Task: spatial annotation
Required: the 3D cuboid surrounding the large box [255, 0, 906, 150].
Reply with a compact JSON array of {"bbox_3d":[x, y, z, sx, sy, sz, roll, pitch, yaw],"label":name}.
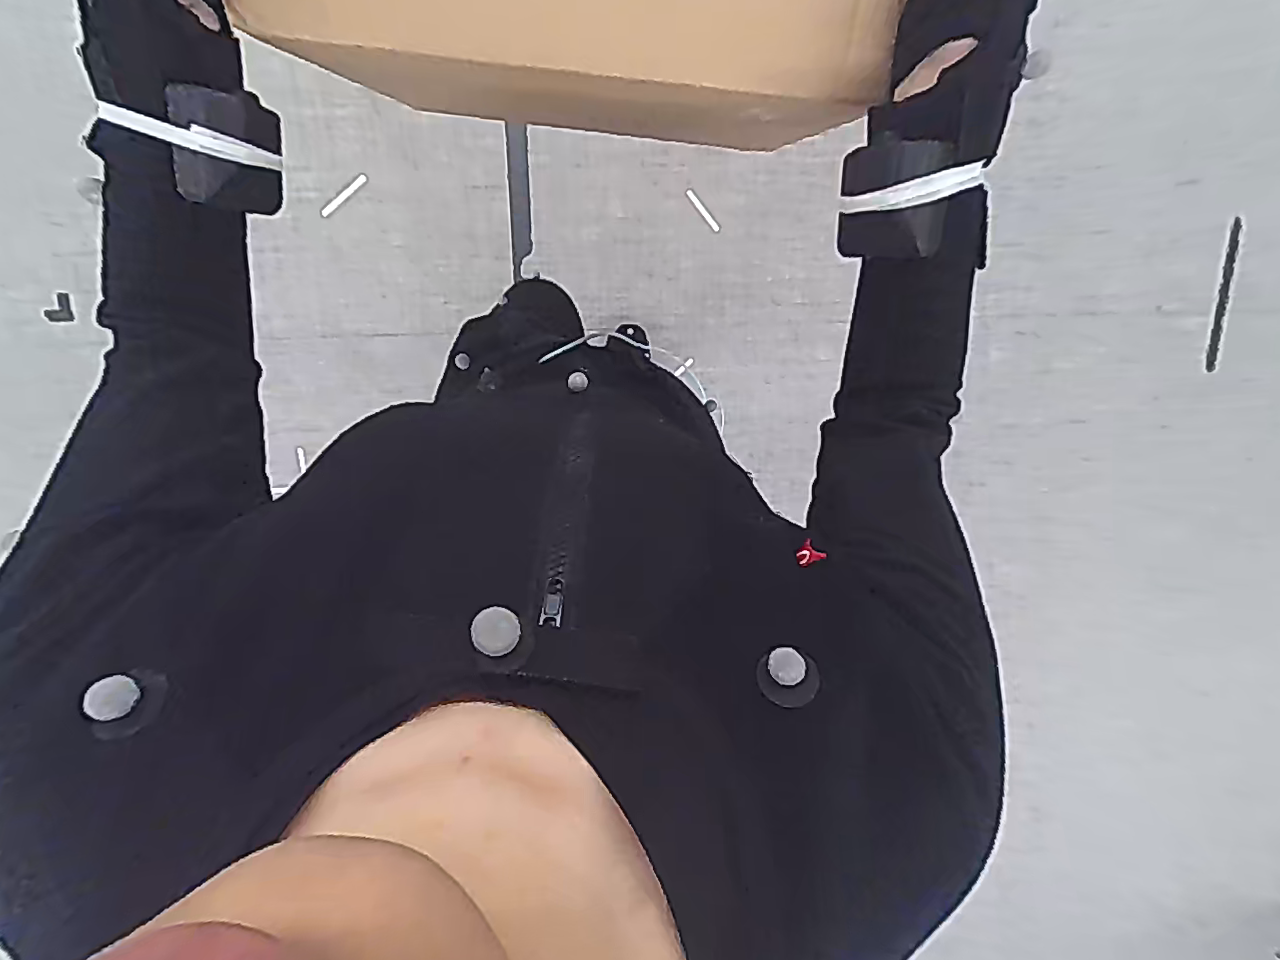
[{"bbox_3d":[-0.030,-0.463,0.412,0.408,0.320,0.320,4,117,-4],"label":"large box"}]
